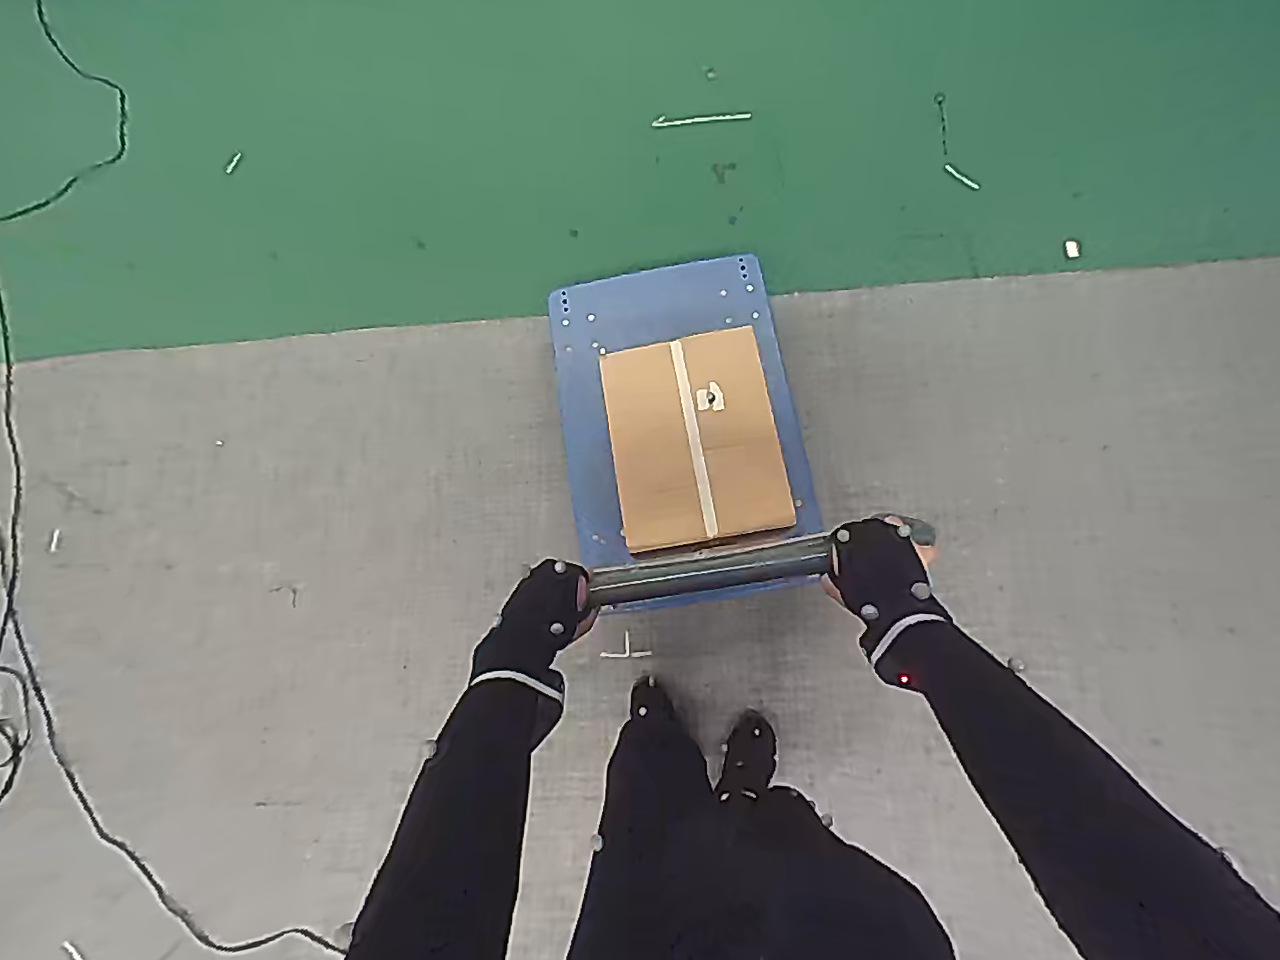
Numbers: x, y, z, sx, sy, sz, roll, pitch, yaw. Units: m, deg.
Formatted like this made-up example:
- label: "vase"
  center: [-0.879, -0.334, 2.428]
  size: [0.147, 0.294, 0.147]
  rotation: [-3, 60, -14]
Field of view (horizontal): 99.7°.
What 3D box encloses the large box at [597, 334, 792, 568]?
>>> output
- label: "large box"
  center: [0.113, -0.042, 1.186]
  size: [0.320, 0.320, 0.408]
  rotation: [-10, 76, 3]
